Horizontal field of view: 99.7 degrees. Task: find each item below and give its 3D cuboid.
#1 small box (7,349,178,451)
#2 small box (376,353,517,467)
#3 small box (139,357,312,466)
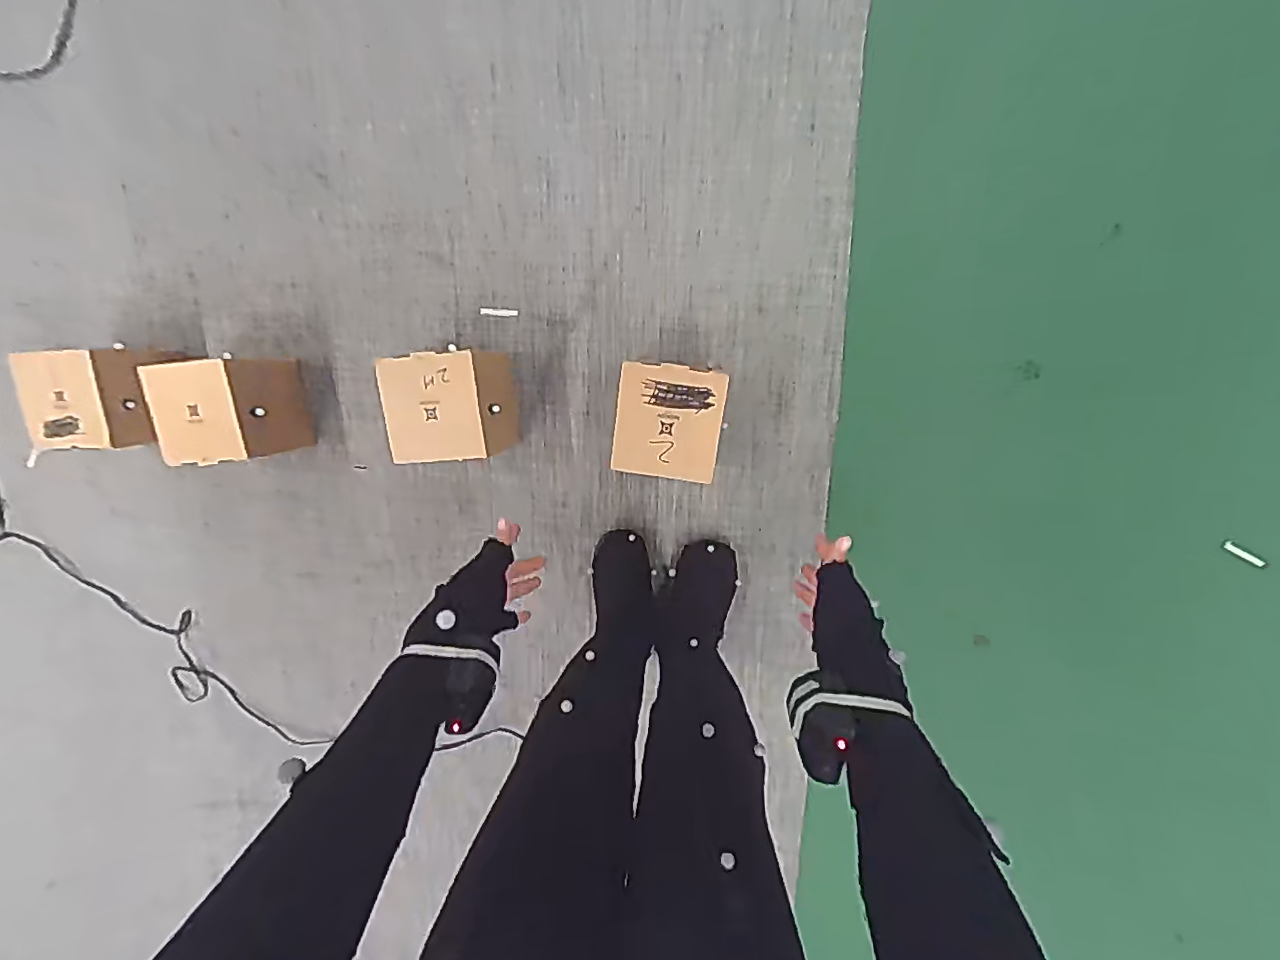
[{"bbox_3d":[-1.001,-0.154,1.019,0.168,0.176,0.179,-1,102,7],"label":"small box"},{"bbox_3d":[-0.324,-0.128,0.943,0.168,0.176,0.179,-3,103,6],"label":"small box"},{"bbox_3d":[-0.747,-0.130,0.994,0.168,0.176,0.179,-4,103,8],"label":"small box"}]
